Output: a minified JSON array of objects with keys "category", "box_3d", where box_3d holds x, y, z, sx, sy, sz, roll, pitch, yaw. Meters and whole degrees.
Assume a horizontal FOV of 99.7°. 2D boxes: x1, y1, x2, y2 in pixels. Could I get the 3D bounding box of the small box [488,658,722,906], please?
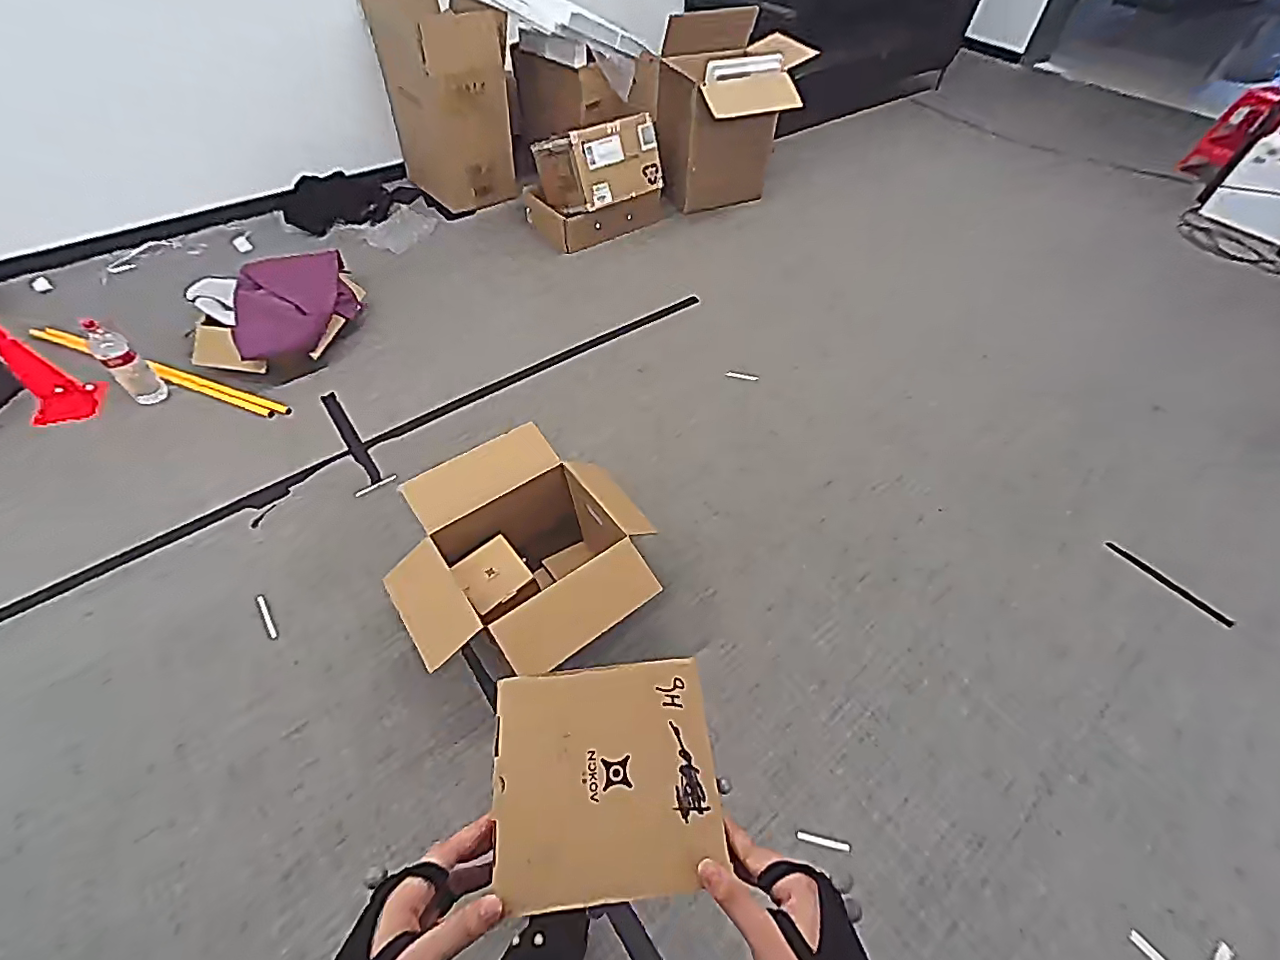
[{"category":"small box","box_3d":[-0.031,0.279,0.503,0.179,0.176,0.168,-6,57,-3]}]
